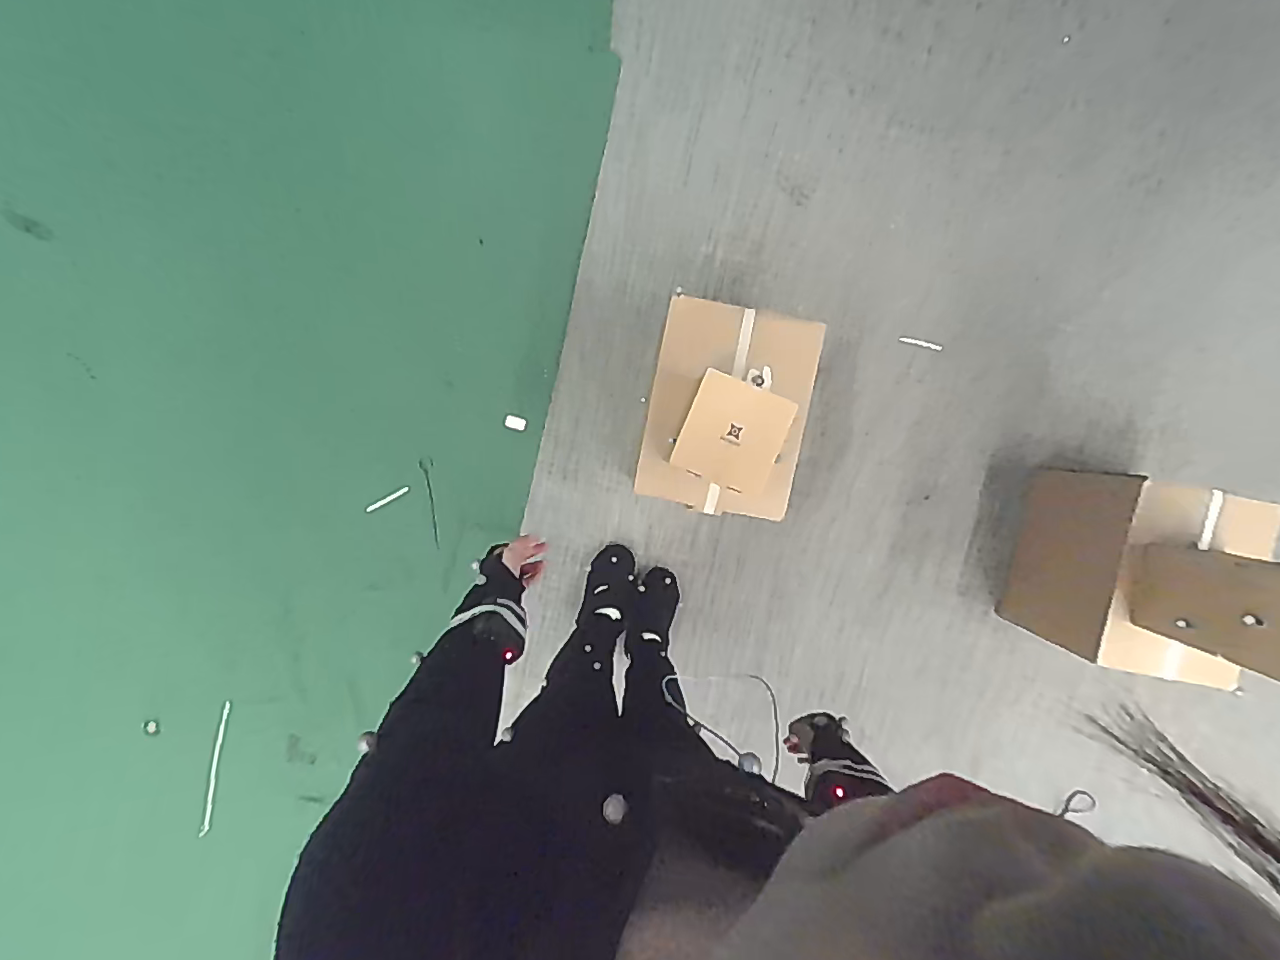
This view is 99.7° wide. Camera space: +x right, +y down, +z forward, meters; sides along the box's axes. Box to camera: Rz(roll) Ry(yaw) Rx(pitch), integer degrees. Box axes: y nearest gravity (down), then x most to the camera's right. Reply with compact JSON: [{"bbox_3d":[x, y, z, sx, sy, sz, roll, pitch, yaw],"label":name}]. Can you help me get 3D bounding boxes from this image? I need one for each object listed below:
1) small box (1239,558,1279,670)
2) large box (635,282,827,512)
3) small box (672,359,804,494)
[{"bbox_3d":[1.111,0.232,0.843,0.168,0.176,0.179,3,97,0],"label":"small box"},{"bbox_3d":[0.176,-0.168,1.195,0.320,0.320,0.408,11,95,-2],"label":"large box"},{"bbox_3d":[0.160,-0.093,0.956,0.168,0.176,0.179,22,96,-1],"label":"small box"}]
